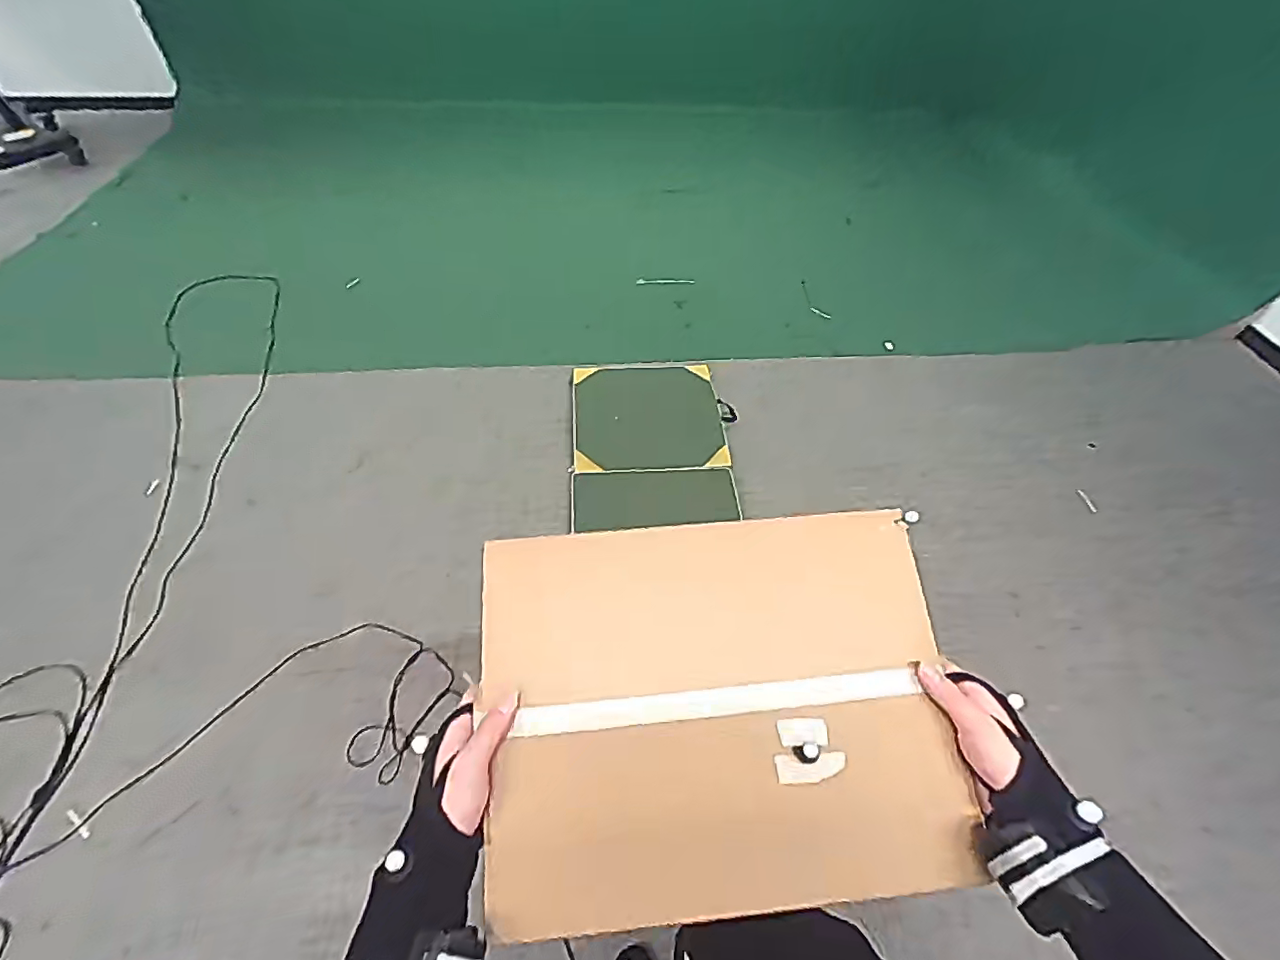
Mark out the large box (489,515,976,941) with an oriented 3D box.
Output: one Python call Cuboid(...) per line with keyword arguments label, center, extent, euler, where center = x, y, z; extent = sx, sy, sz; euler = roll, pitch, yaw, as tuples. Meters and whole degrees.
Cuboid(label="large box", center=(0.062, 0.247, 0.623), extent=(0.408, 0.320, 0.320), euler=(-5, 72, -4))
